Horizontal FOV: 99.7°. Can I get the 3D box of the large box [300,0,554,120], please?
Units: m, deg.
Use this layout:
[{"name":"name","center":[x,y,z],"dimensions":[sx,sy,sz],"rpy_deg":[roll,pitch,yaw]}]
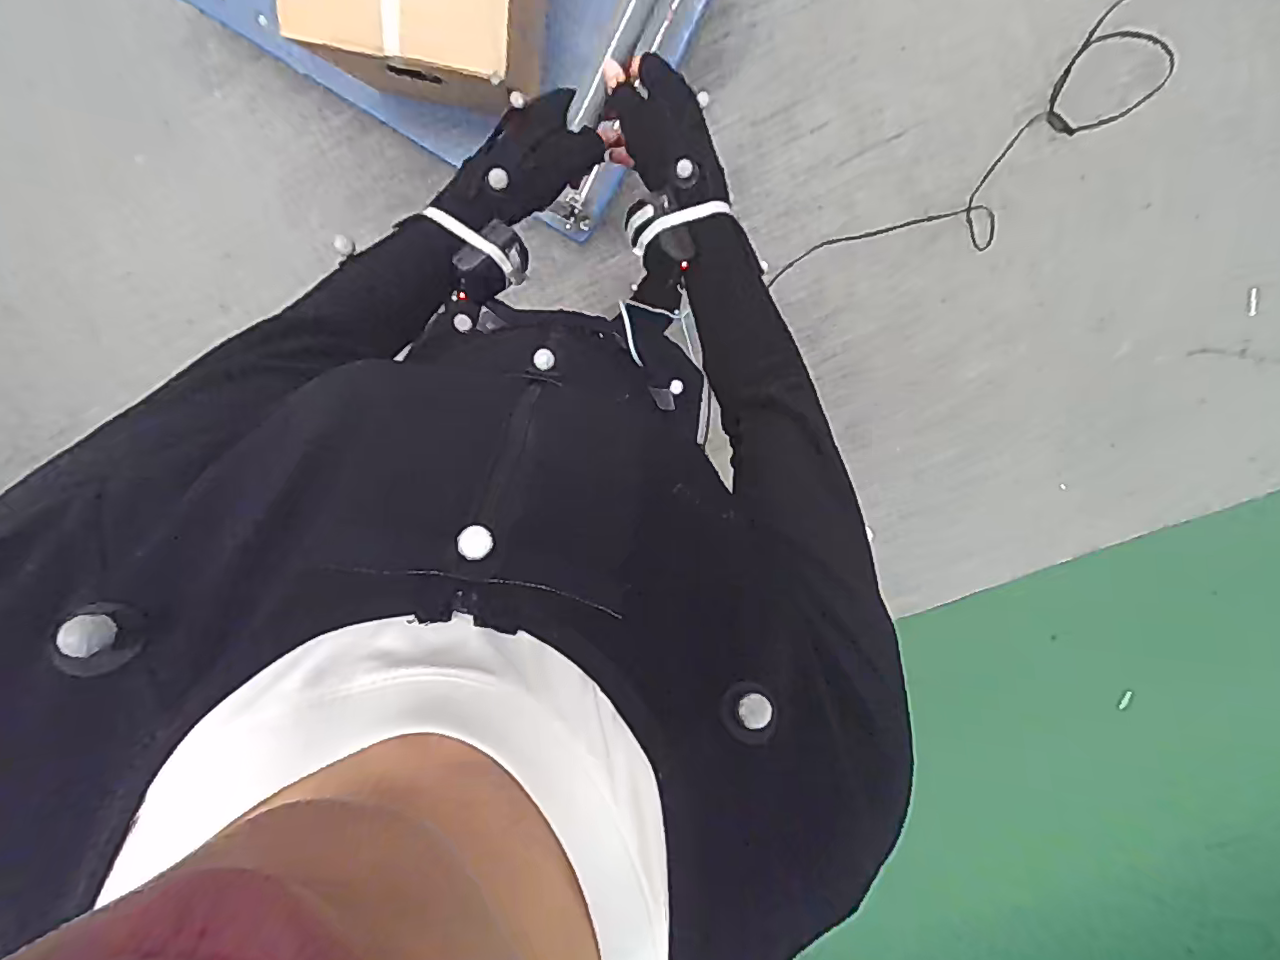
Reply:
[{"name":"large box","center":[-0.296,-0.834,0.824],"dimensions":[0.320,0.320,0.408],"rpy_deg":[9,115,-4]}]
